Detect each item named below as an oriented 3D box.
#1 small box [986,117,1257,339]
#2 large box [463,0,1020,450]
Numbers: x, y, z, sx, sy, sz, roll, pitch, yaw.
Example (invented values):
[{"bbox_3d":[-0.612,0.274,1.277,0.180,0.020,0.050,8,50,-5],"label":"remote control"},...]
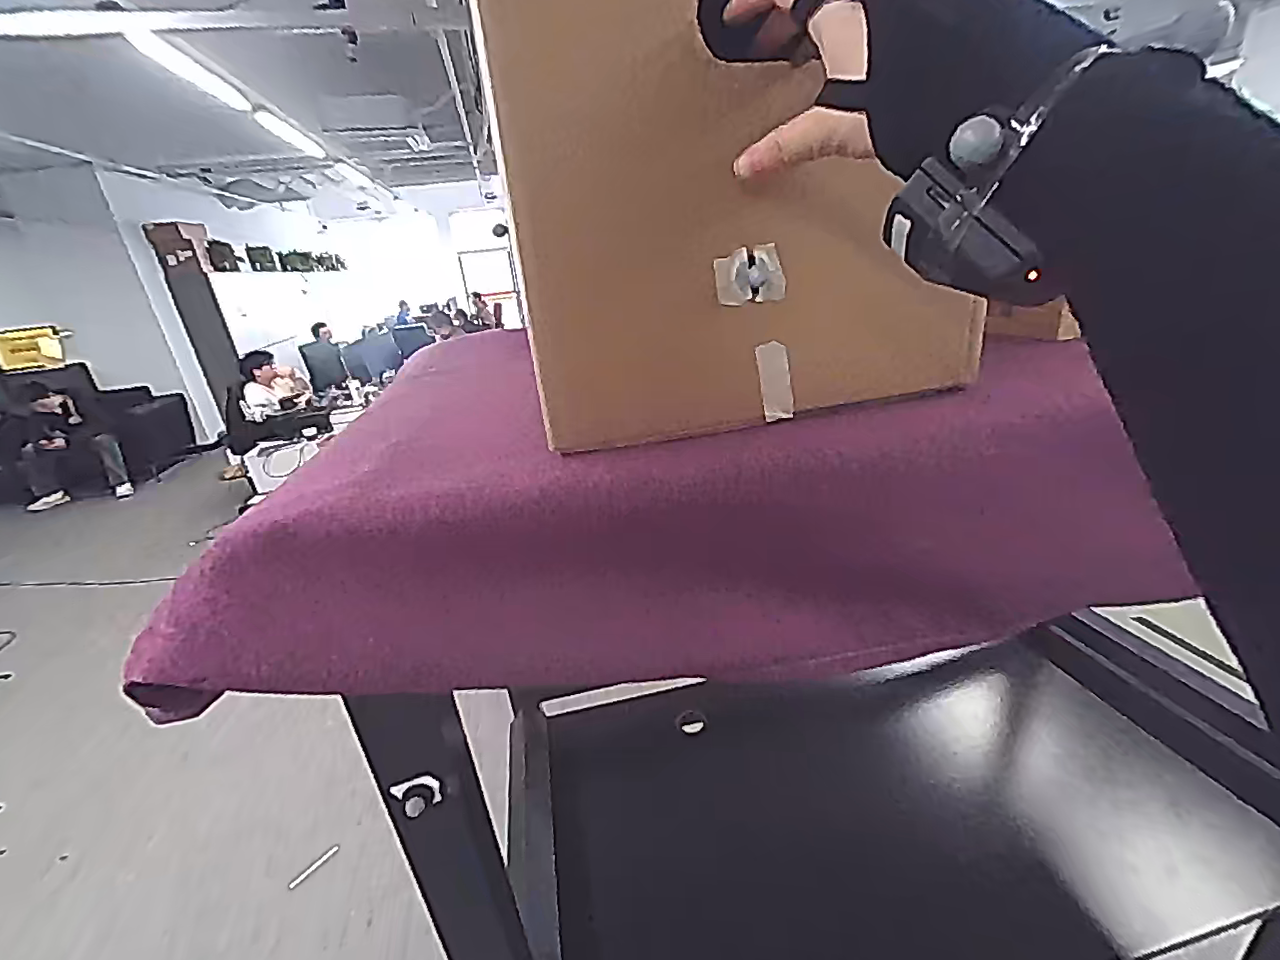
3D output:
[{"bbox_3d":[0.440,-0.248,0.554,0.179,0.176,0.168,-11,22,-8],"label":"small box"},{"bbox_3d":[0.037,-0.245,0.483,0.320,0.320,0.408,-10,21,-10],"label":"large box"}]
